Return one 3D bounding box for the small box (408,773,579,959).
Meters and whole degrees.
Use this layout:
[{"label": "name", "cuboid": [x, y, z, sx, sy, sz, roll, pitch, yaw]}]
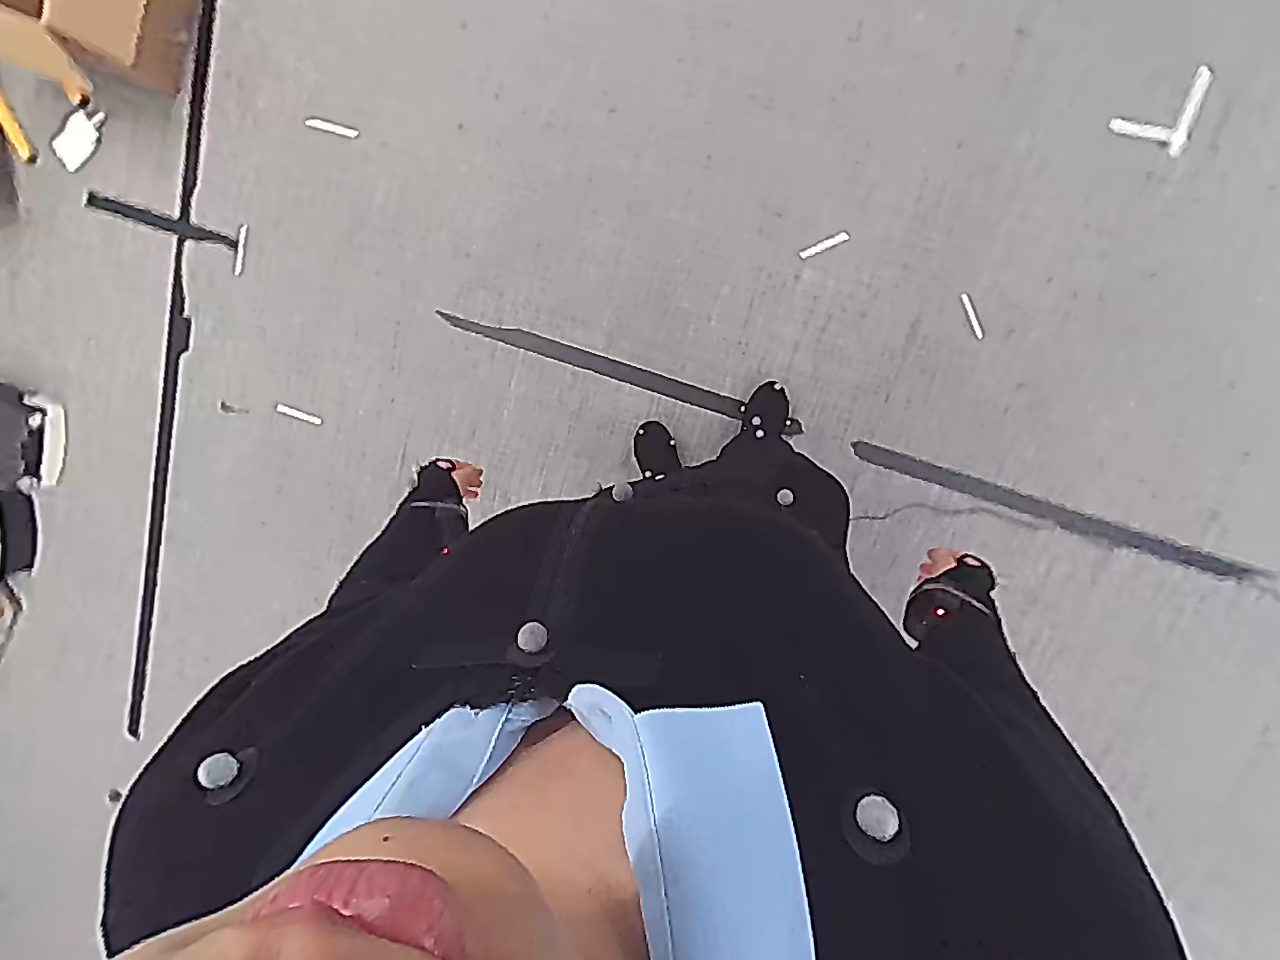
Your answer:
[{"label": "small box", "cuboid": [-0.198, 0.568, 0.780, 0.168, 0.176, 0.179, 19, 102, 6]}]
